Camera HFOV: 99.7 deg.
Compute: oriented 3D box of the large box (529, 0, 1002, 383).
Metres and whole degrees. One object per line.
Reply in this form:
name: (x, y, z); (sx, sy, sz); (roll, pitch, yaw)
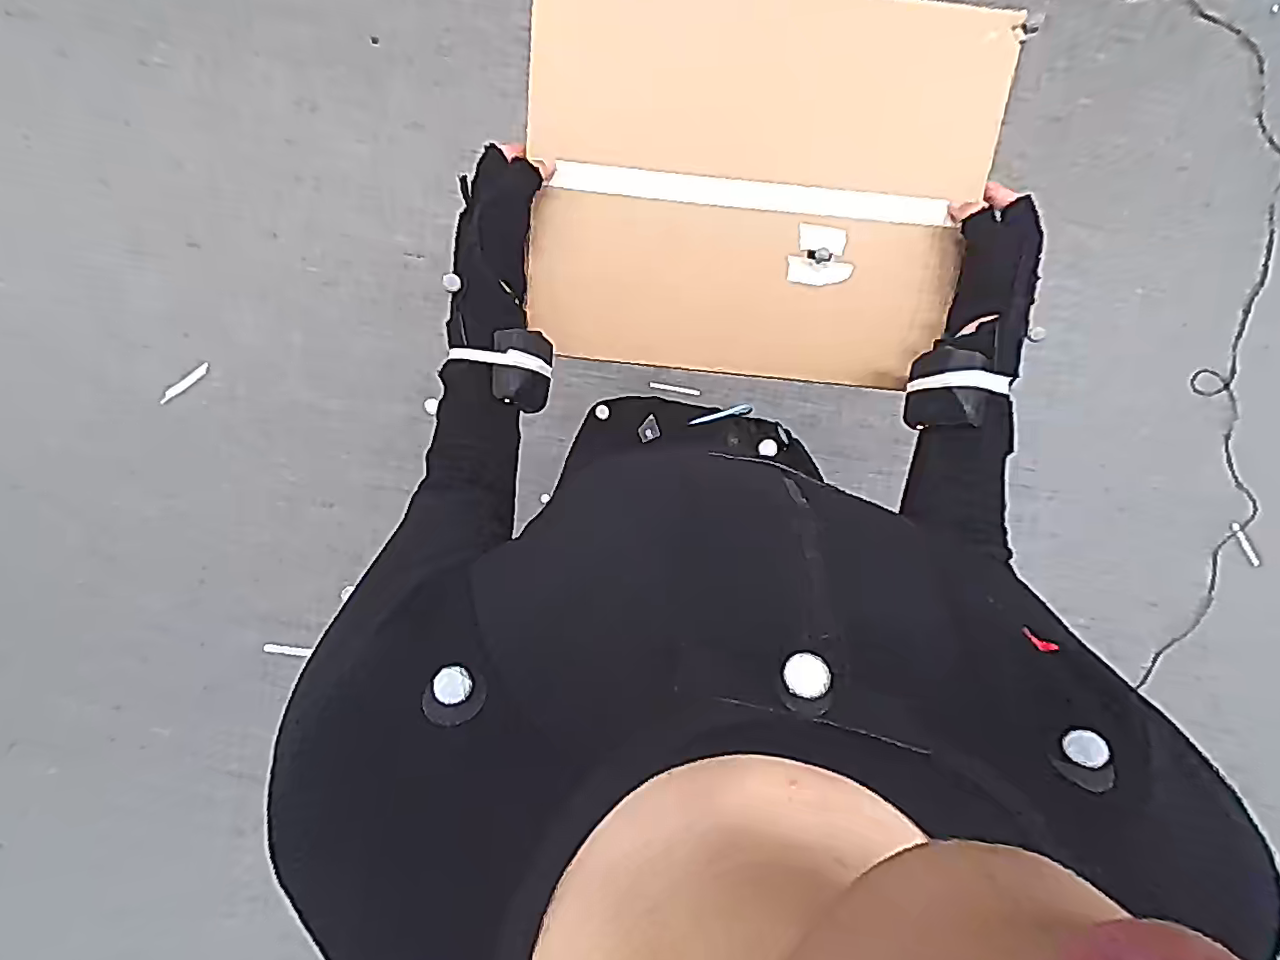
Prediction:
large box: (0.097, -0.299, 0.637); (0.408, 0.320, 0.320); (5, 107, -2)
